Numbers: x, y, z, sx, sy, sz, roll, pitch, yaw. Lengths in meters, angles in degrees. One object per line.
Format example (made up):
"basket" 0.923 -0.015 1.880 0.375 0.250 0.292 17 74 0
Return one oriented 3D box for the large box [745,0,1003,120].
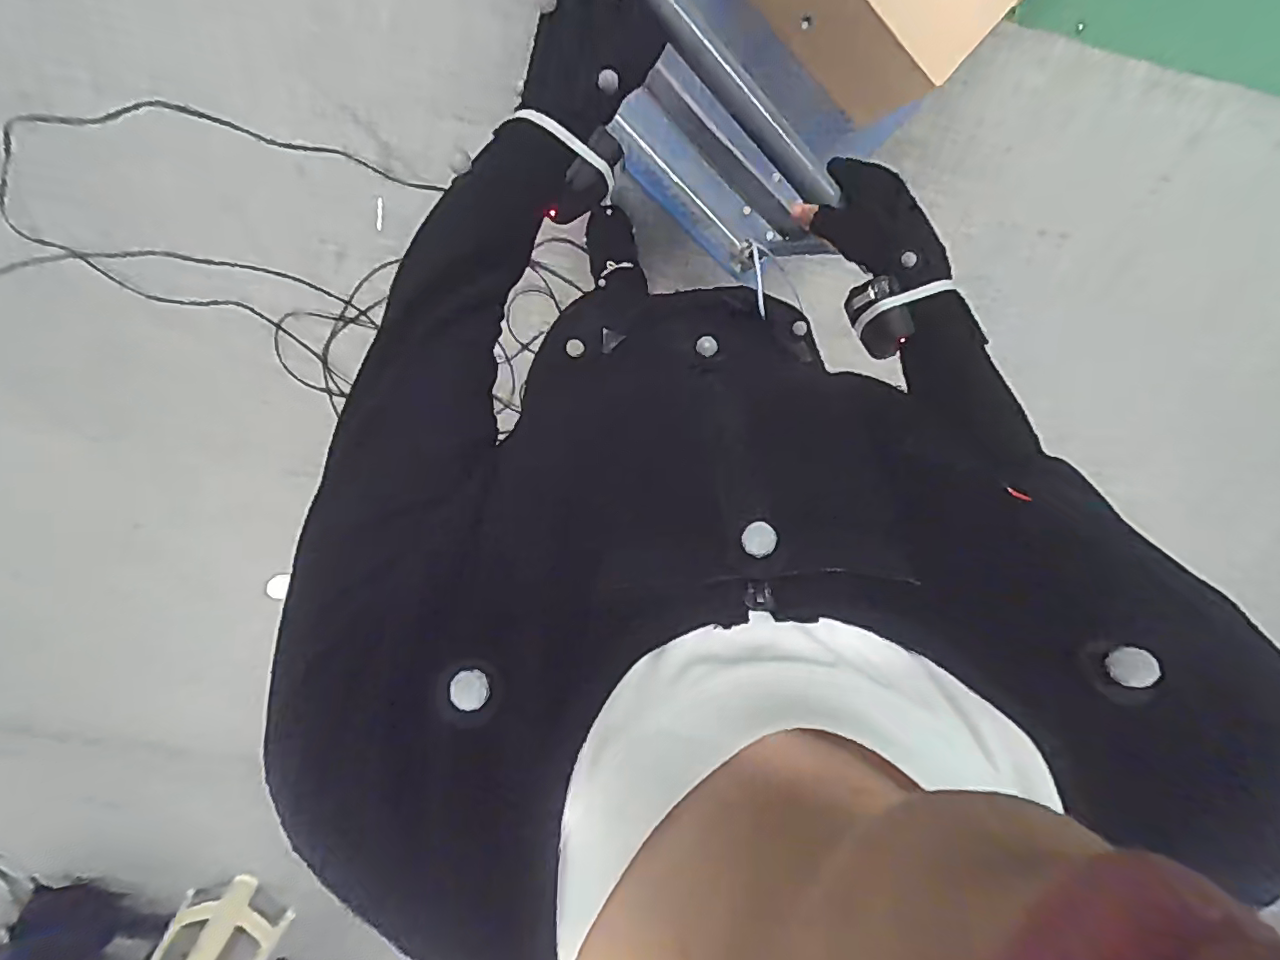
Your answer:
"large box" 0.362 -0.848 0.814 0.408 0.320 0.320 37 108 -15
